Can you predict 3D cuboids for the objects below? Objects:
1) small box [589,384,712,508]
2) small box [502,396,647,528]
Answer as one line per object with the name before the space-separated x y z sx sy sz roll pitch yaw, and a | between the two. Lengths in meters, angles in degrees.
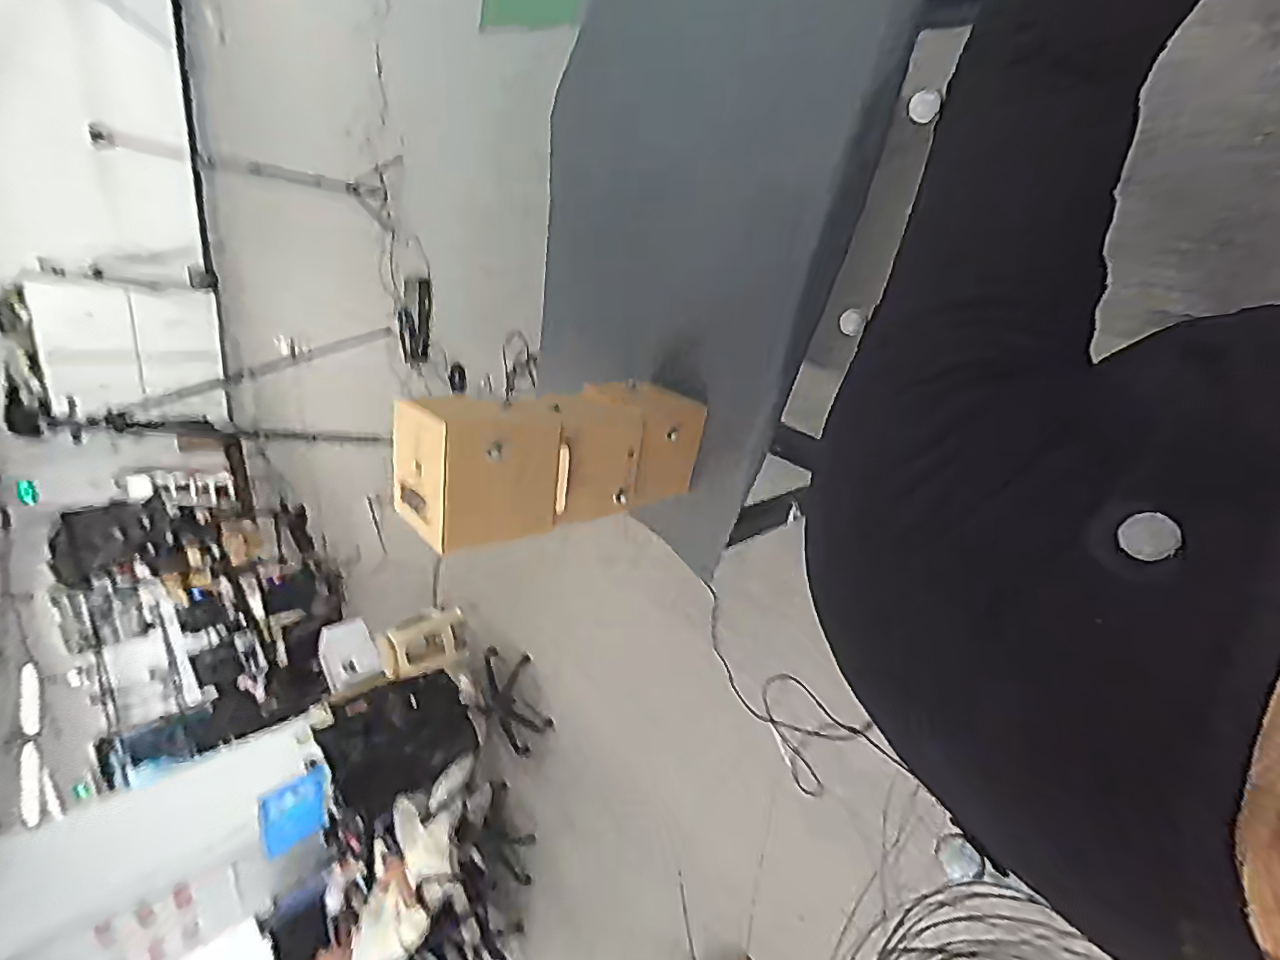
small box | 0.011 -0.073 0.999 0.168 0.176 0.179 31 120 40
small box | -0.109 -0.041 0.890 0.179 0.176 0.168 27 117 43
